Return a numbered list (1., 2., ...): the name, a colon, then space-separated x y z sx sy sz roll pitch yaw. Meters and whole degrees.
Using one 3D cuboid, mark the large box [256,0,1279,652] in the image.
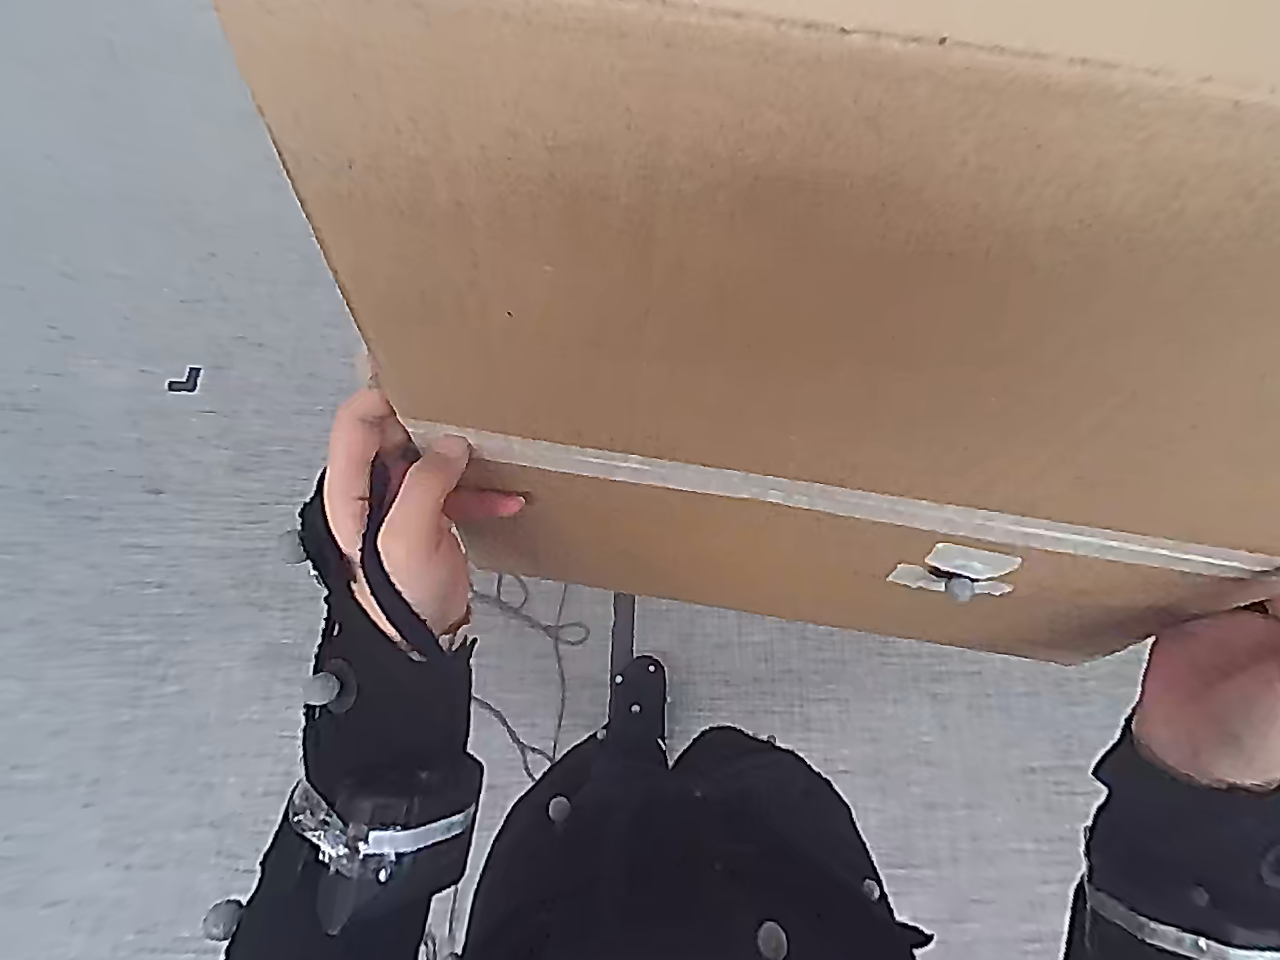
1. large box: 0.111 -0.117 0.327 0.408 0.320 0.320 8 57 1
